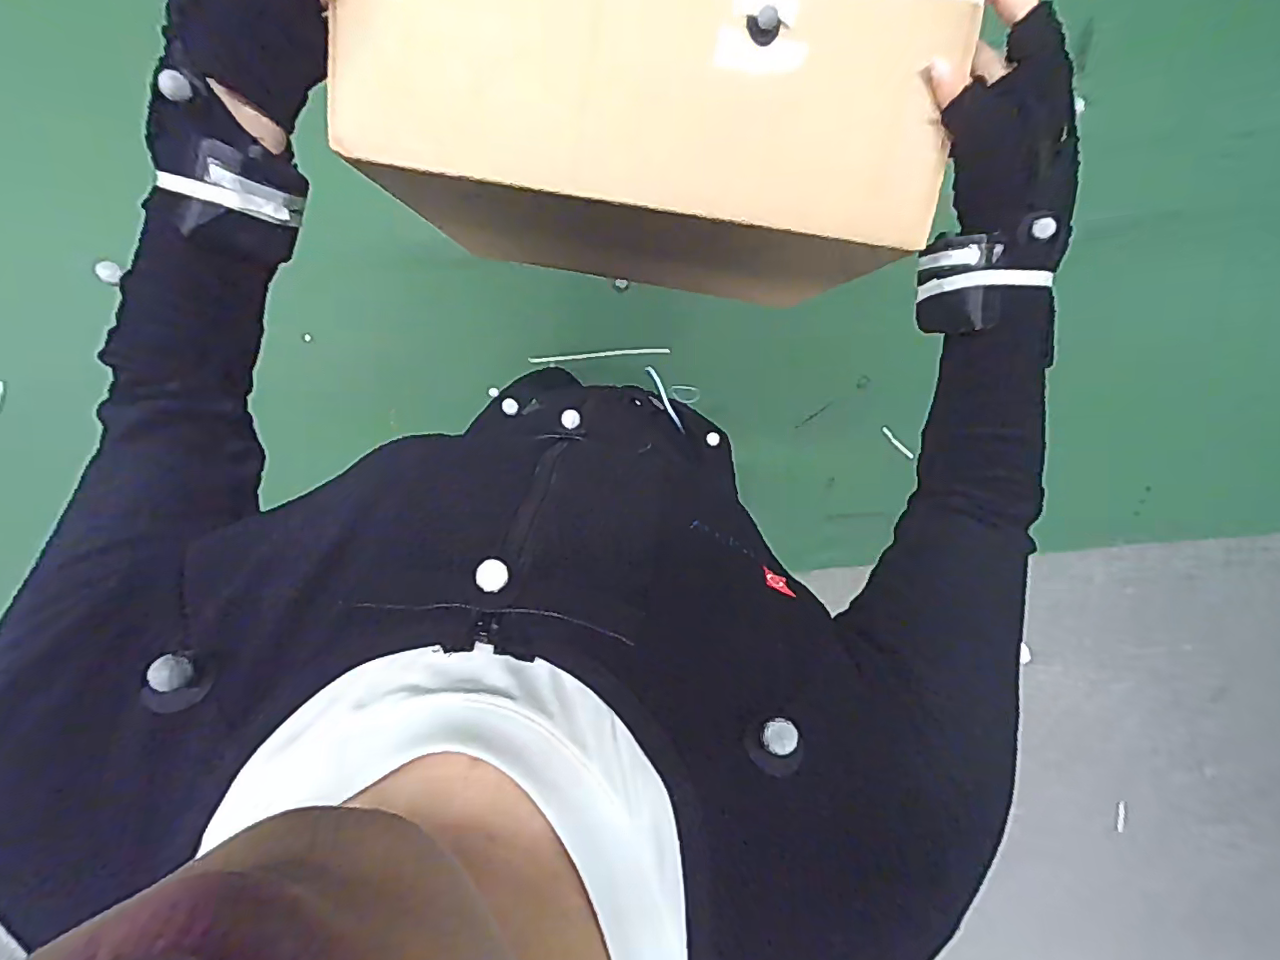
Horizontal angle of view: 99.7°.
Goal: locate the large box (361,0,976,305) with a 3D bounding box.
[{"bbox_3d":[0.022,-0.366,0.496,0.408,0.320,0.320,9,101,-3],"label":"large box"}]
